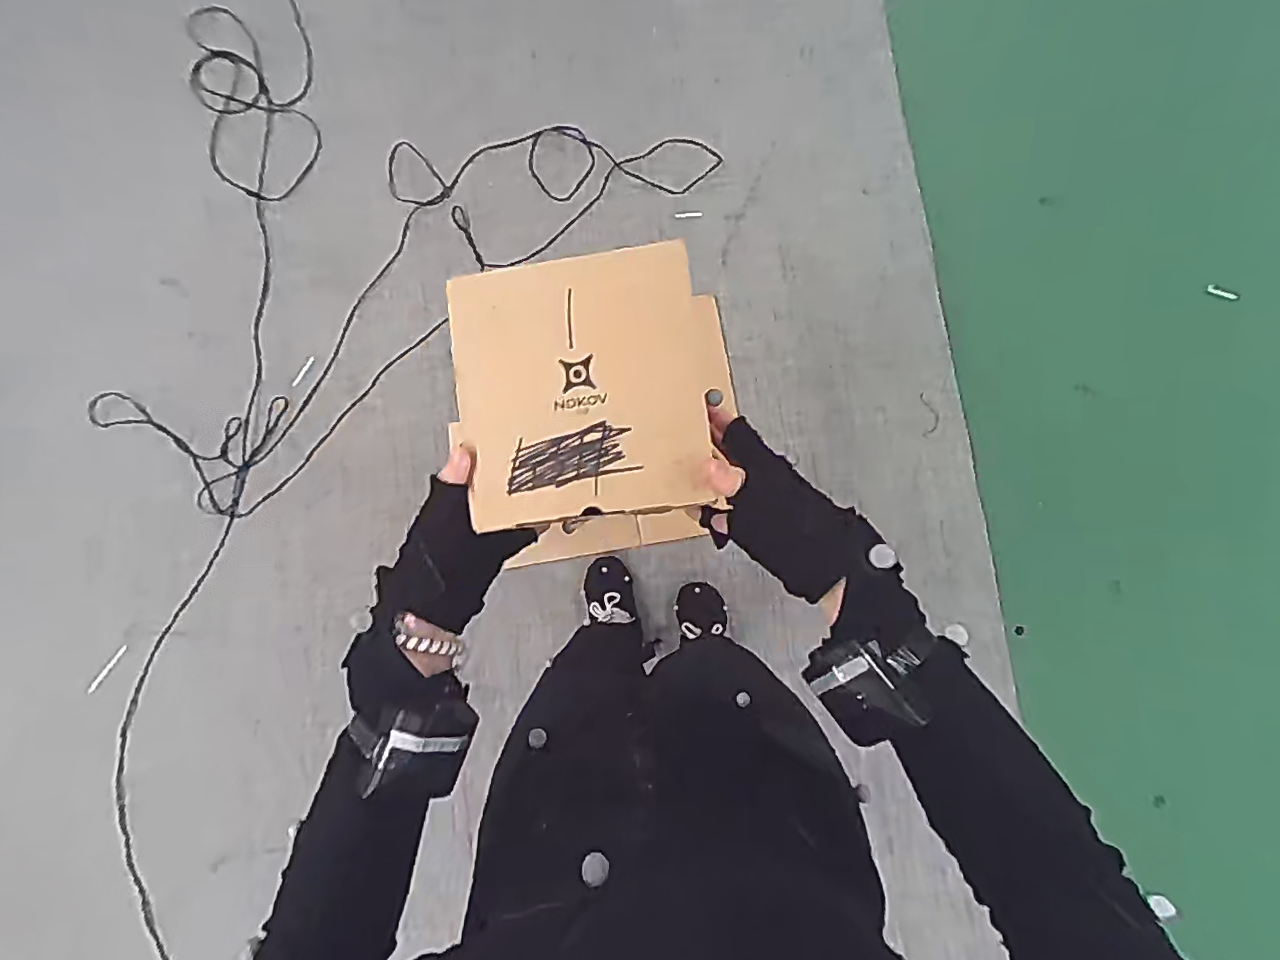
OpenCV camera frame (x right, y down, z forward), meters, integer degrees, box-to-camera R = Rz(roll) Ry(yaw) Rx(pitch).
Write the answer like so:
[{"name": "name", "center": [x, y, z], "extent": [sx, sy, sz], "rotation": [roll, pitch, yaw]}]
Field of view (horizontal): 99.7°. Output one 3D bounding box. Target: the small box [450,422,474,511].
[{"name": "small box", "center": [-0.277, -0.025, 1.114], "extent": [0.168, 0.176, 0.179], "rotation": [-7, 84, 2]}]

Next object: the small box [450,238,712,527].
[{"name": "small box", "center": [-0.031, -0.062, 0.437], "extent": [0.168, 0.176, 0.179], "rotation": [-7, 88, 6]}]
